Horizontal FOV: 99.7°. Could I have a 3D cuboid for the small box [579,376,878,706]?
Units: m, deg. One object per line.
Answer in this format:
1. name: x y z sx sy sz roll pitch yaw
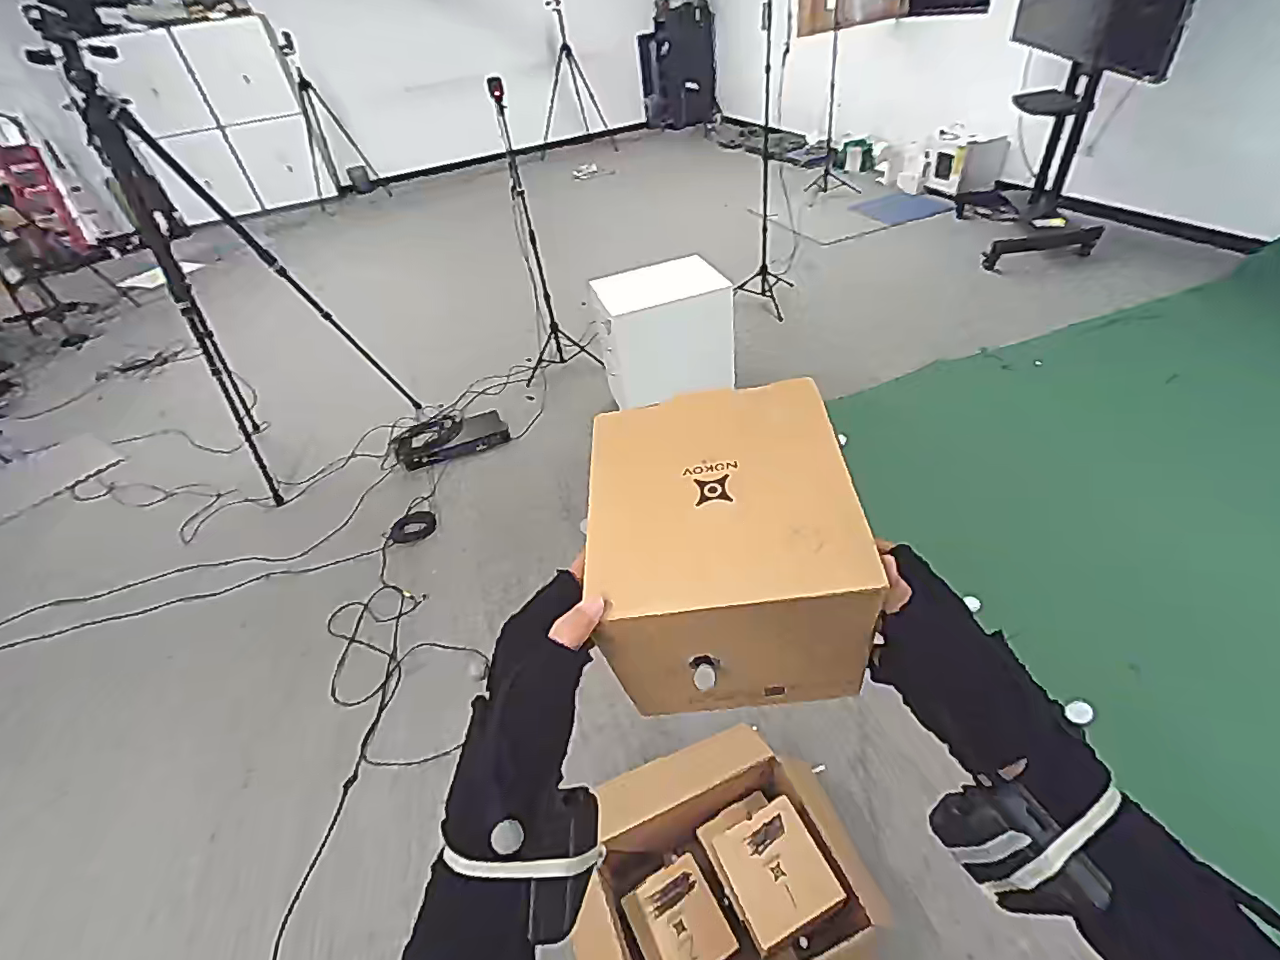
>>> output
1. small box: 0.062 0.054 0.400 0.168 0.176 0.179 -8 47 8
